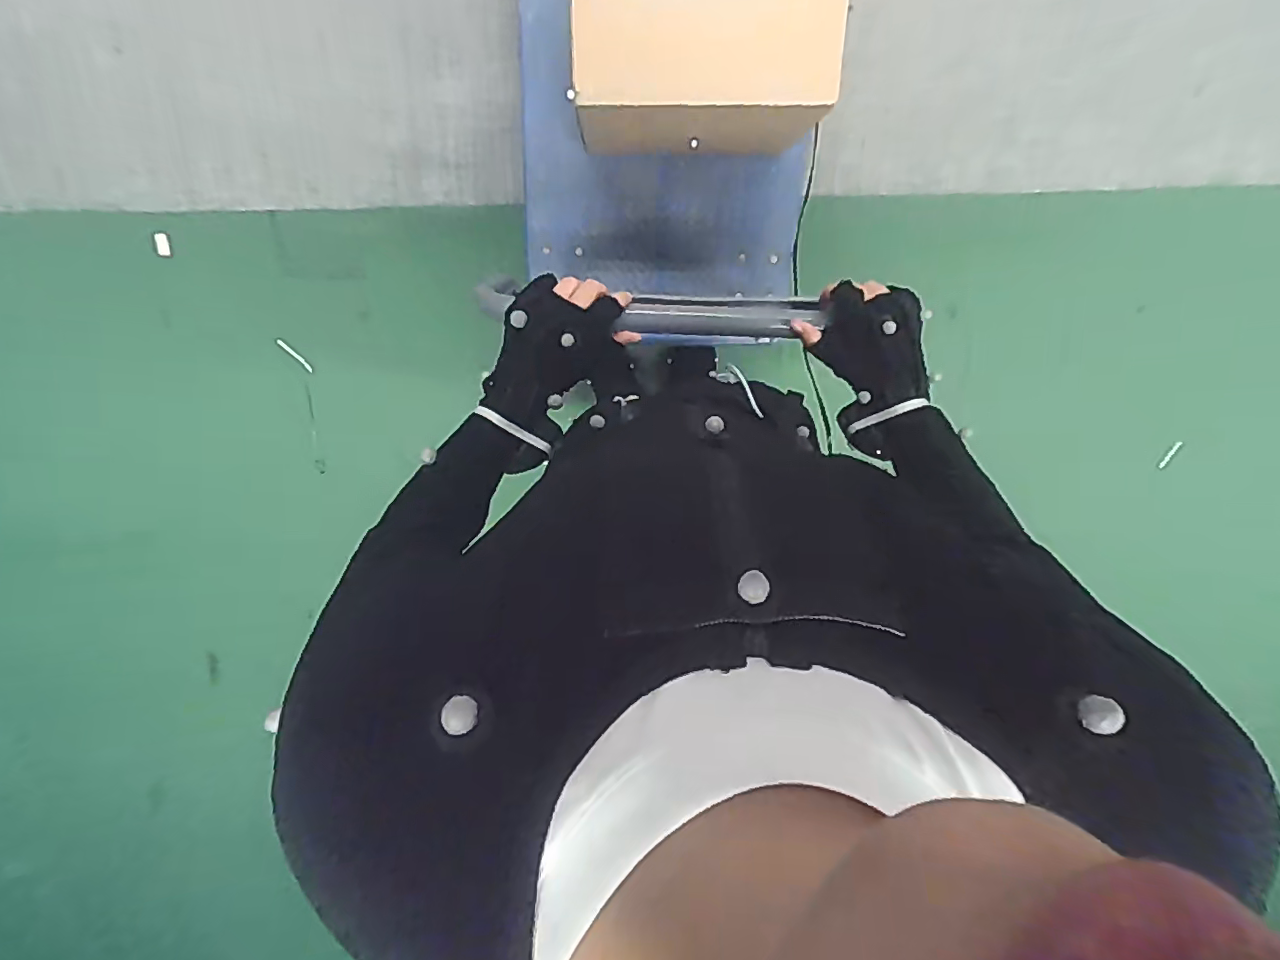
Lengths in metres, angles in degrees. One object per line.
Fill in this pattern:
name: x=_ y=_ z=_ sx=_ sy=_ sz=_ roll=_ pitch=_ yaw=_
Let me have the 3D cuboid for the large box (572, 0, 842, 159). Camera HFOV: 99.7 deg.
large box: x=0.098 y=-0.761 z=0.927 sx=0.408 sy=0.320 sz=0.320 roll=-1 pitch=107 yaw=-1
